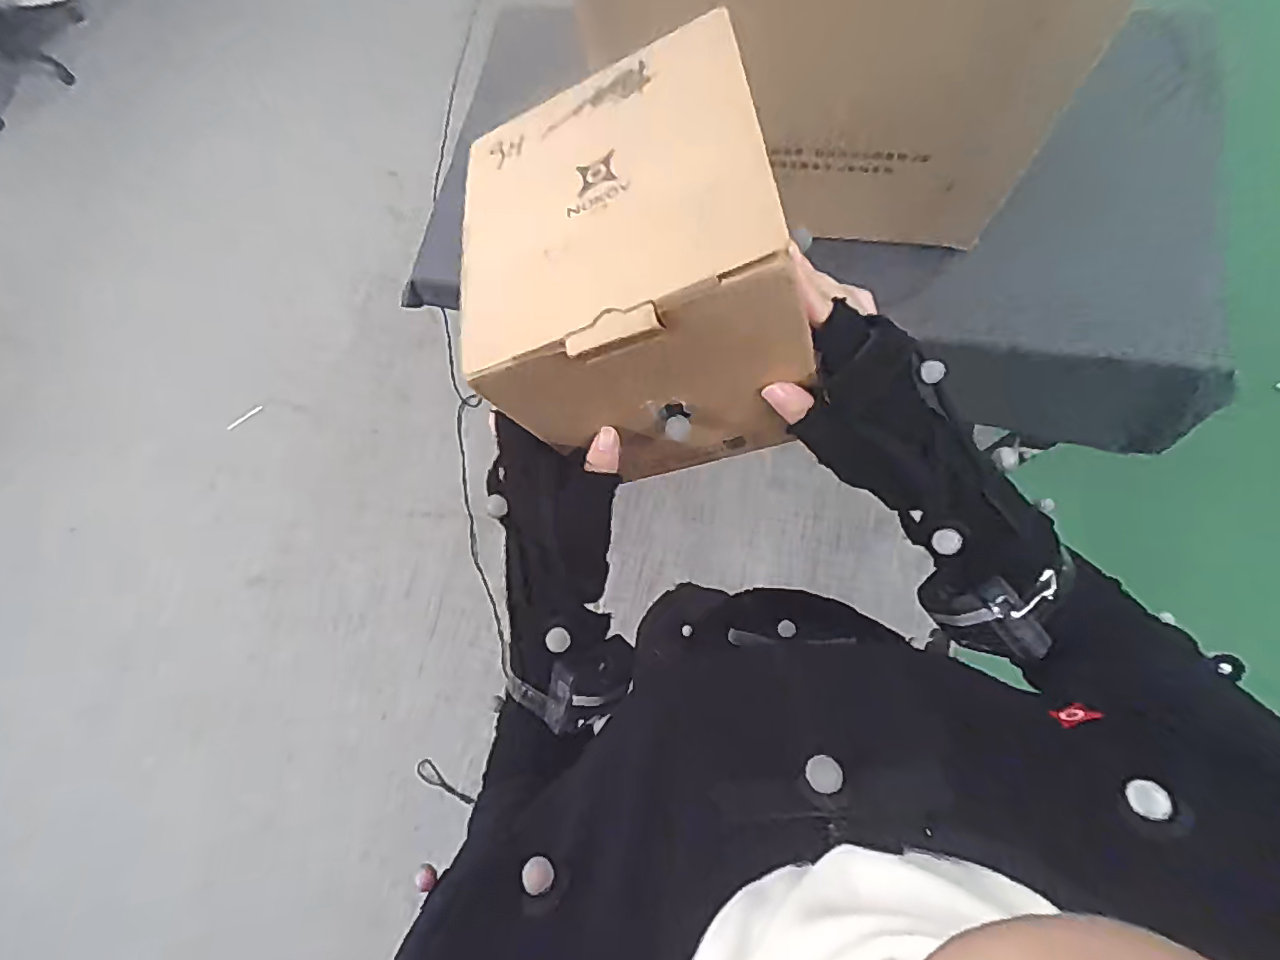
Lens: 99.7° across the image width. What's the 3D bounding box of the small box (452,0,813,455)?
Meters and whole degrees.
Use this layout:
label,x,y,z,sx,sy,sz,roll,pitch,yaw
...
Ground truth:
label,x,y,z,sx,sy,sz,roll,pitch,yaw
small box,0.005,-0.127,0.345,0.168,0.176,0.179,-14,67,19
